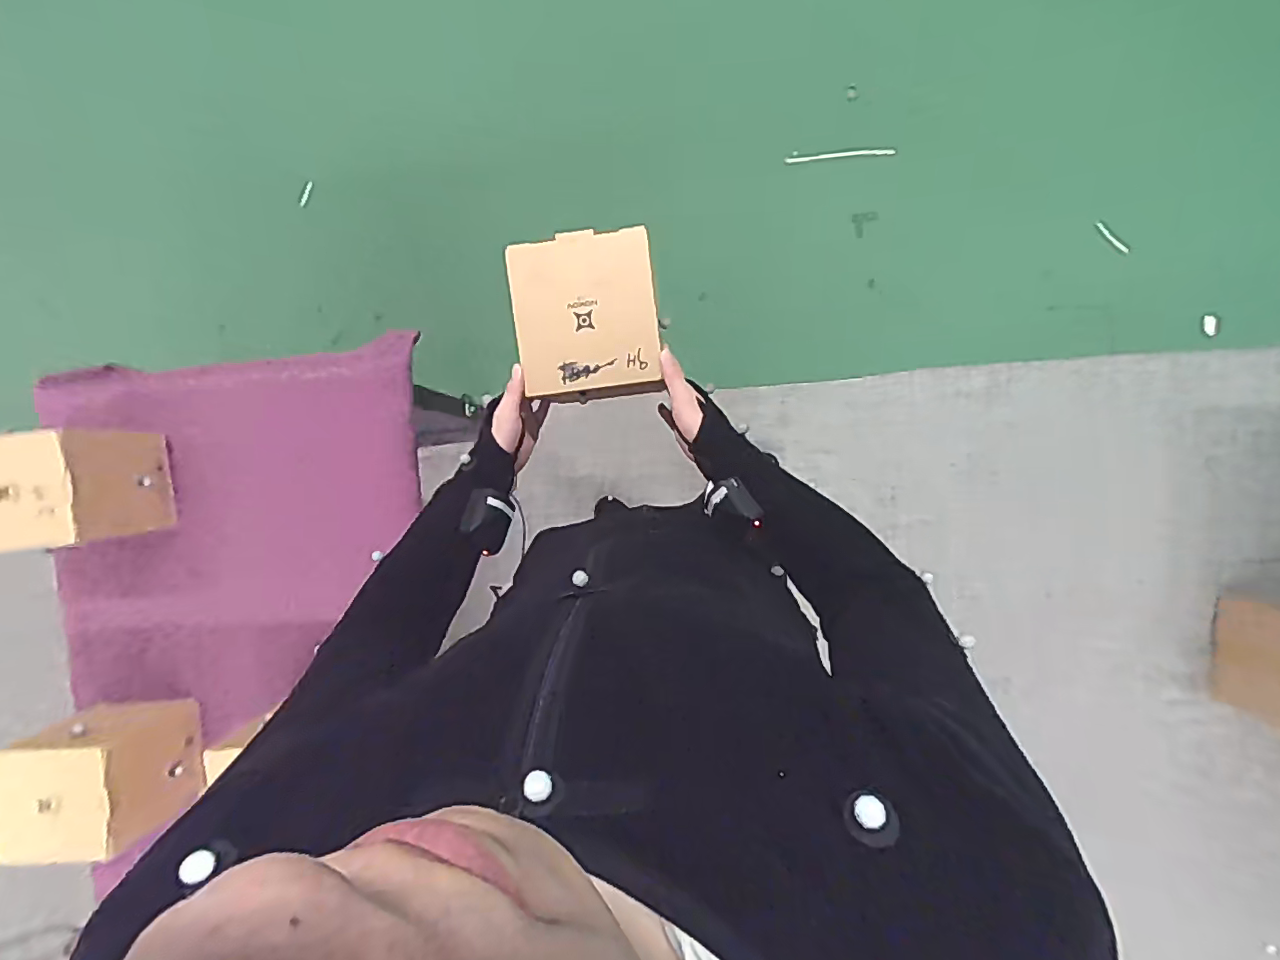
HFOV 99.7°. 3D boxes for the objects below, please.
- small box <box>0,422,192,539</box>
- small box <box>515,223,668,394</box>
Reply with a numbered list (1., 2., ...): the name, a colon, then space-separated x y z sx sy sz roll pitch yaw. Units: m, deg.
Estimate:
1. small box: -0.892 -0.003 0.881 0.179 0.176 0.168 -6 95 3
2. small box: -0.053 -0.211 0.710 0.168 0.176 0.179 -5 97 6
